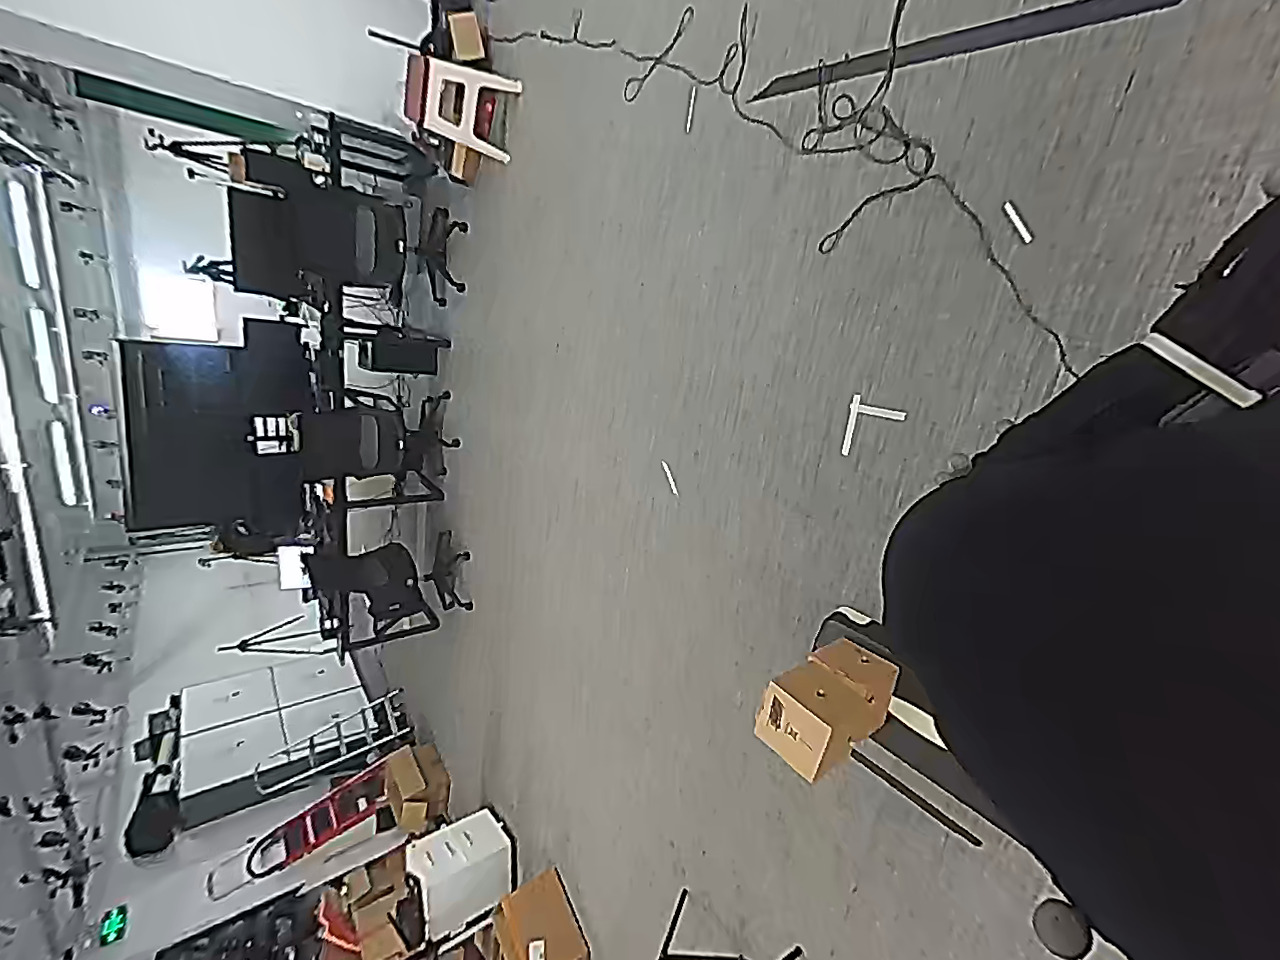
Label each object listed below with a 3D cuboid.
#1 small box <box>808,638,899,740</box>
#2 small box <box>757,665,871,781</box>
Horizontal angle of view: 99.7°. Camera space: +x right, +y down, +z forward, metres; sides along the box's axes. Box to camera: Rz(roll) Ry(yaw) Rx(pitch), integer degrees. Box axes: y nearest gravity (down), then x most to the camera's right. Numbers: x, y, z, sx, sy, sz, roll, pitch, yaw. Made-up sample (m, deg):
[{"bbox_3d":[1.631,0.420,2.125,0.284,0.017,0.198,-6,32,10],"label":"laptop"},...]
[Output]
[{"bbox_3d":[0.544,0.540,1.401,0.168,0.176,0.179,24,112,47],"label":"small box"},{"bbox_3d":[0.417,0.569,1.299,0.179,0.176,0.168,30,117,44],"label":"small box"}]
